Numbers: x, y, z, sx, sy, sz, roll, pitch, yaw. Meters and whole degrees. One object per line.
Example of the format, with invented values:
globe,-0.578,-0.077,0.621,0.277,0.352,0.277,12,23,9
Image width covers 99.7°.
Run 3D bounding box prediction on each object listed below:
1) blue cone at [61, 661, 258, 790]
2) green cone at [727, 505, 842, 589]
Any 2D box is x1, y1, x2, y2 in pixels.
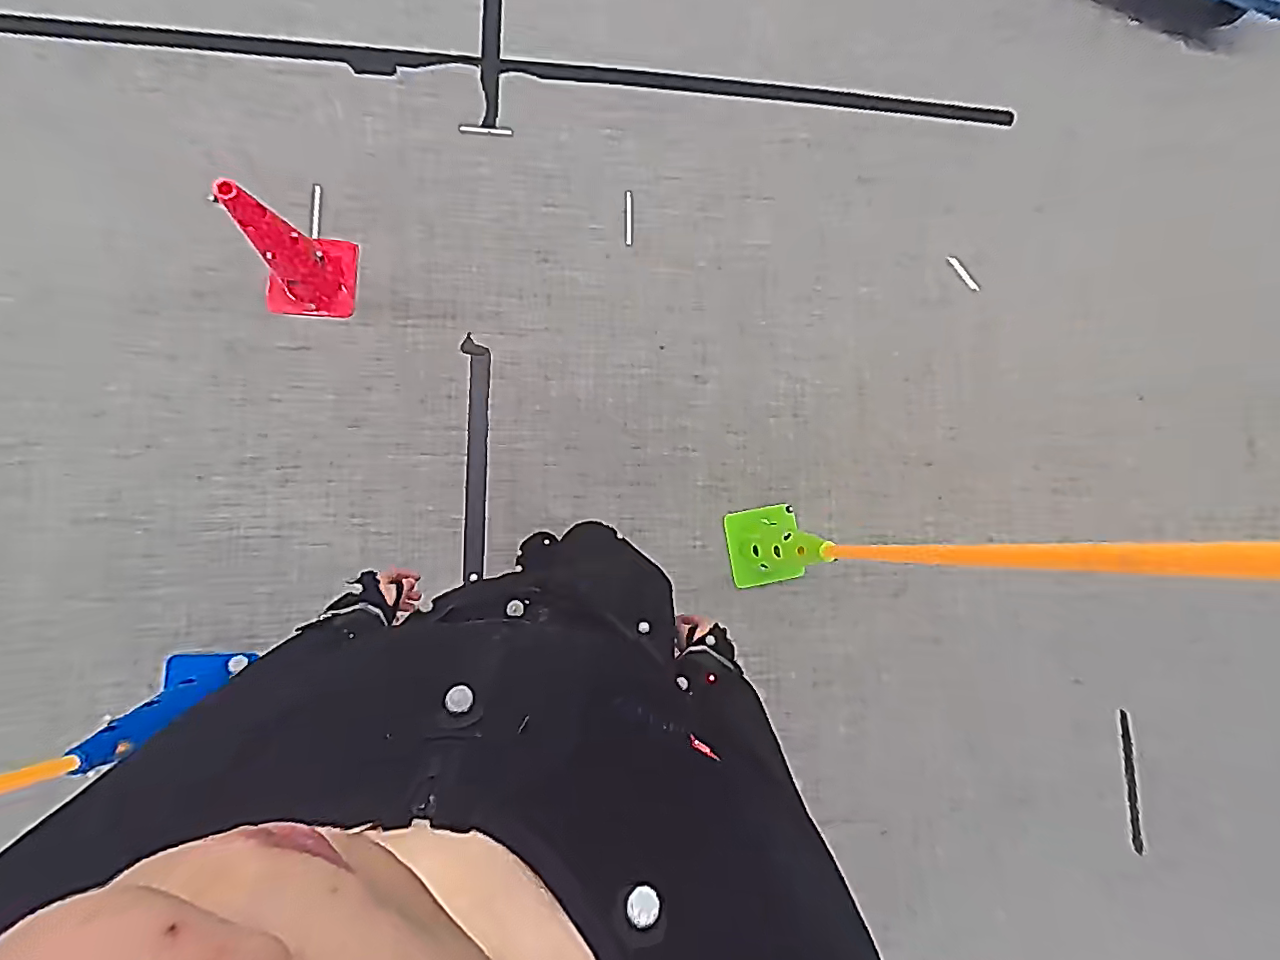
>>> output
blue cone,-0.950,0.493,1.064,0.193,0.380,0.192,3,84,-7
green cone,0.359,0.165,1.266,0.200,0.368,0.202,-10,88,-8
